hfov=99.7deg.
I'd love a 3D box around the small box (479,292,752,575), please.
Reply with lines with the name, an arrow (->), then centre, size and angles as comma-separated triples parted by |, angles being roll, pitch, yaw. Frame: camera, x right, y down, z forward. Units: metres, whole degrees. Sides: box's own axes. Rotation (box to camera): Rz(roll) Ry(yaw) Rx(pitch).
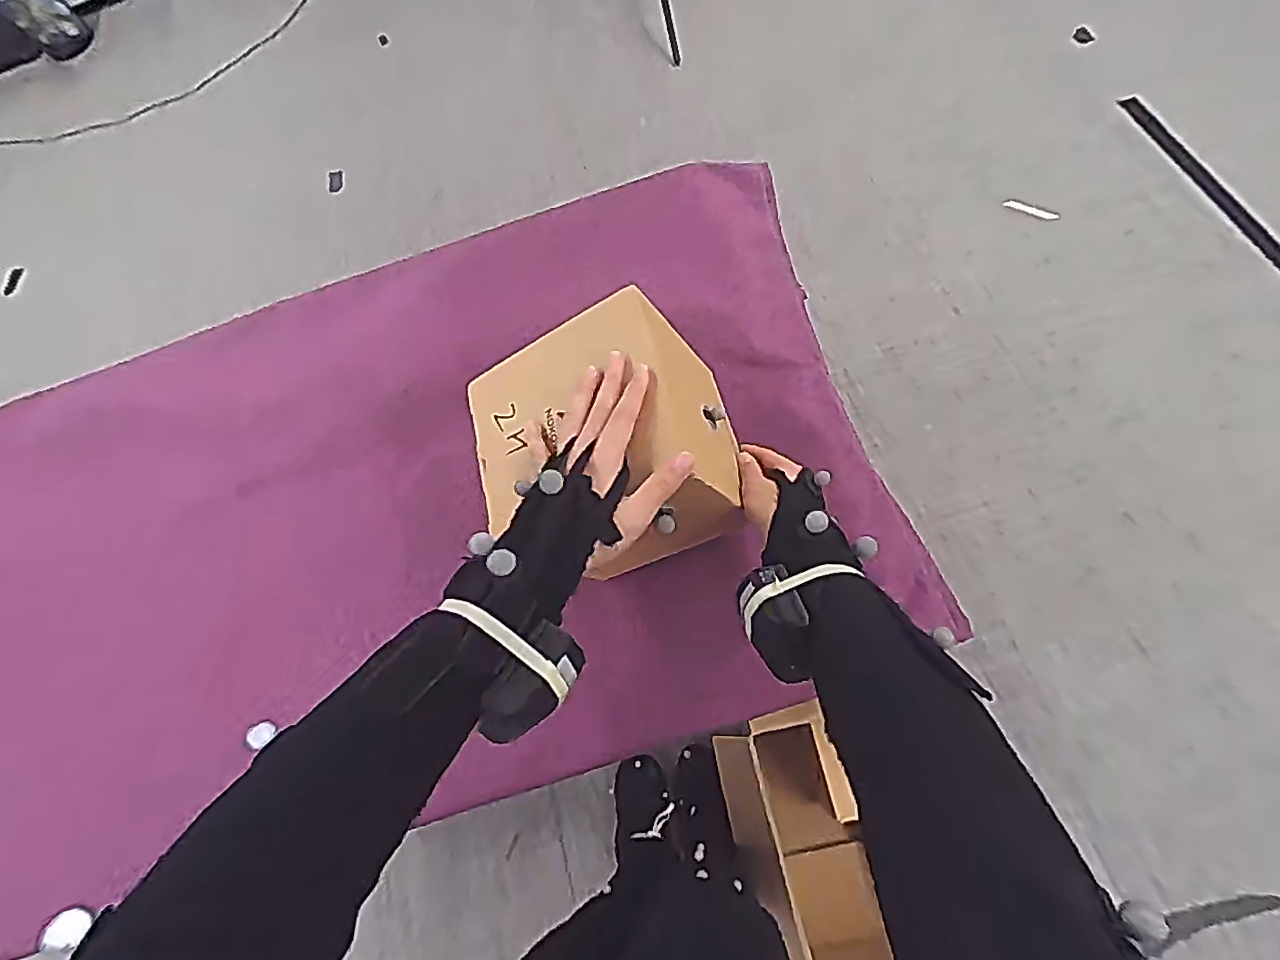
small box -> -0.012, -0.024, 0.485 | 0.179, 0.176, 0.168 | -24, 65, 20
